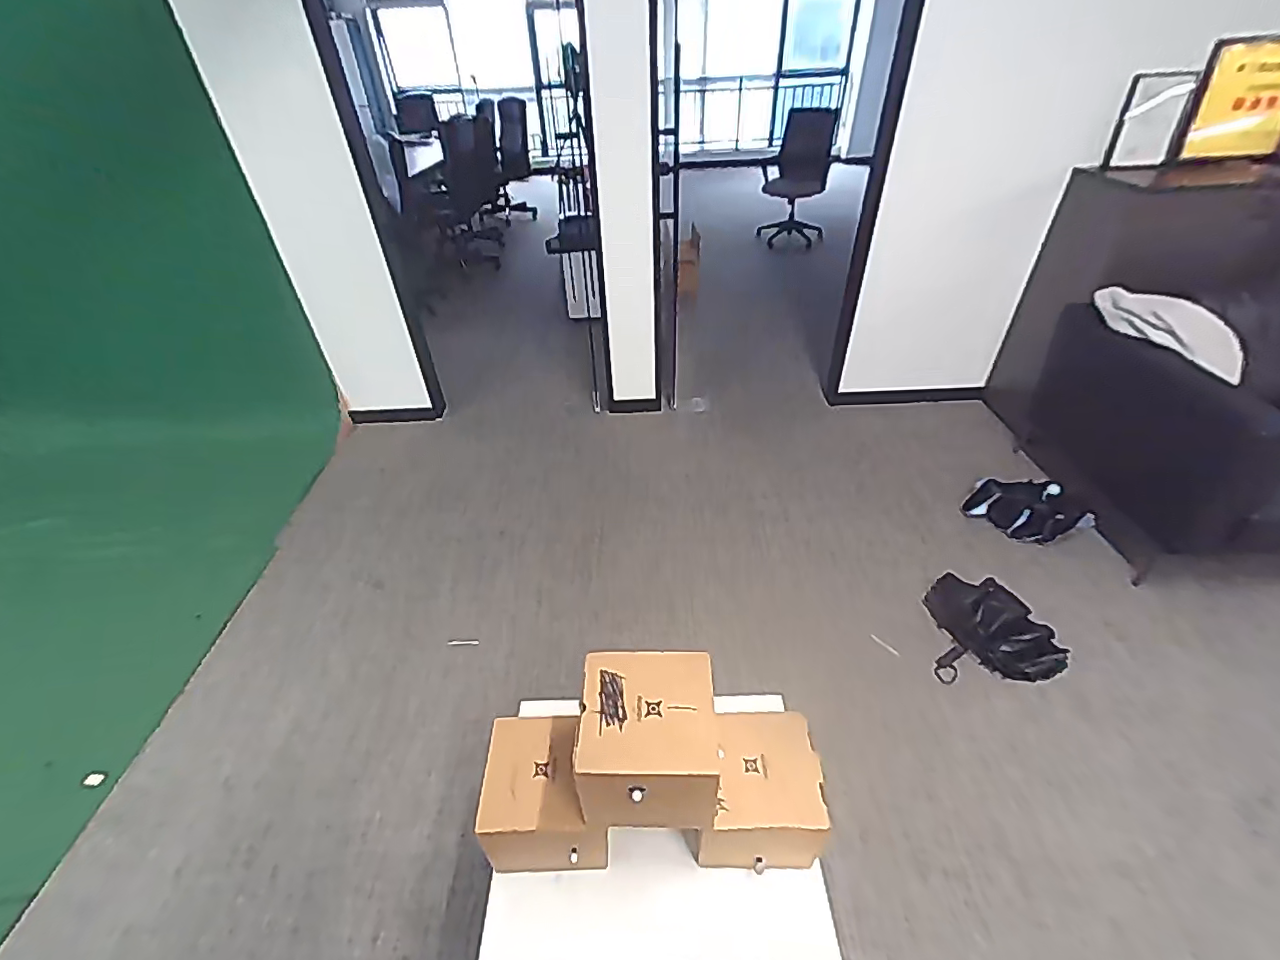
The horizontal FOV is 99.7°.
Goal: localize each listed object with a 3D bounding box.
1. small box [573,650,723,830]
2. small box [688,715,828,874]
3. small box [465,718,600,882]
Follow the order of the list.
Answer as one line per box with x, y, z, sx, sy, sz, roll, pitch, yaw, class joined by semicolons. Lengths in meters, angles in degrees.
0.010;0.349;0.727;0.179;0.176;0.168;1;38;-1;small box
0.164;0.481;0.829;0.179;0.176;0.168;-1;38;0;small box
-0.148;0.482;0.819;0.179;0.176;0.168;-2;37;-3;small box
